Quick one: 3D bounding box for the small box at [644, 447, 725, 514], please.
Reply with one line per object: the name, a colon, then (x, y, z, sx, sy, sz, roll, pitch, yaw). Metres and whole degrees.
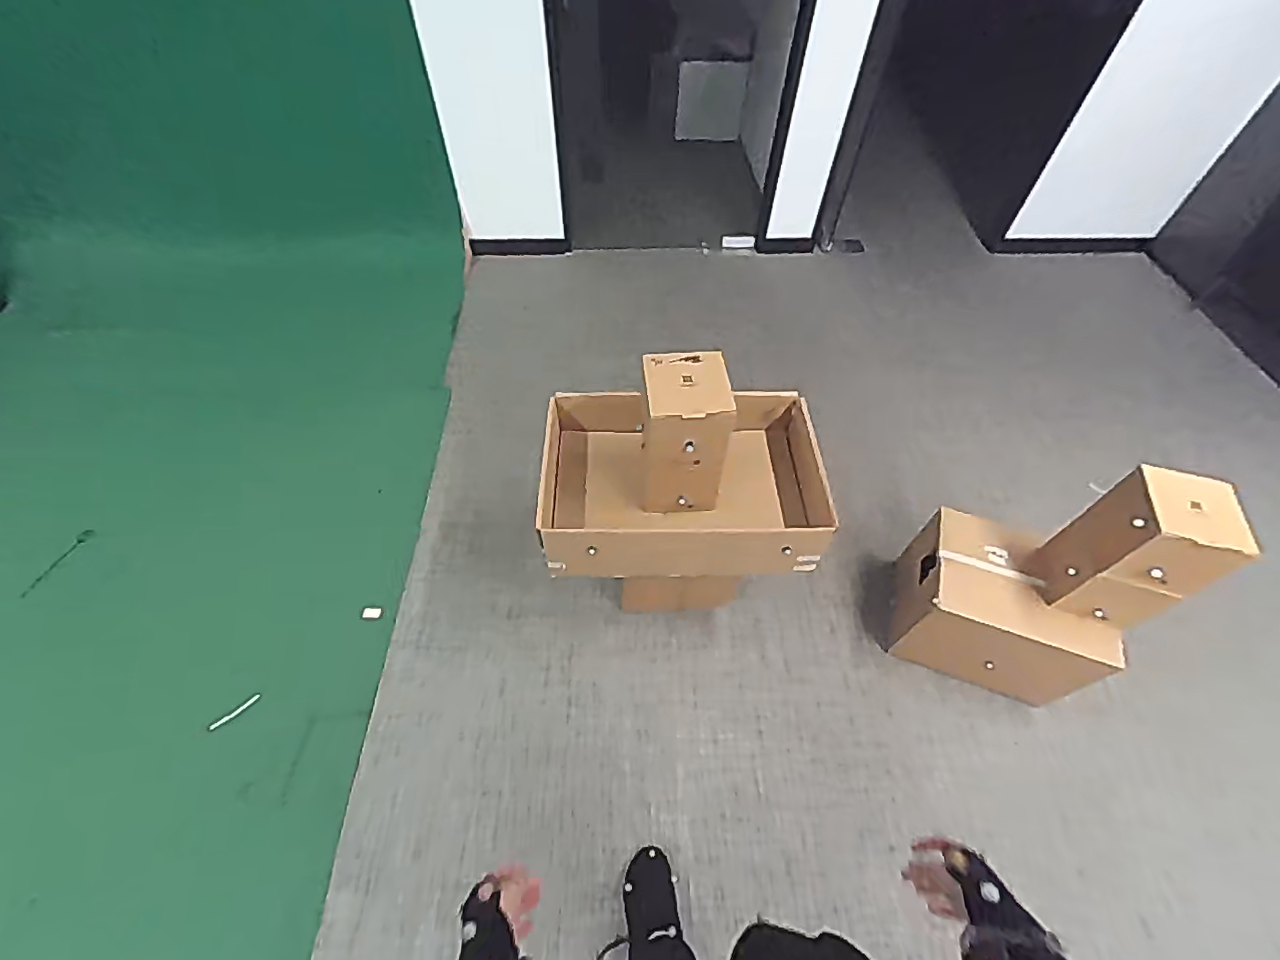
small box: (0.096, -0.038, 1.252, 0.168, 0.176, 0.179, -2, 54, -2)

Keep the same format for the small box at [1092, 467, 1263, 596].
small box: (1.068, 0.106, 1.098, 0.168, 0.176, 0.179, 15, 54, 9)

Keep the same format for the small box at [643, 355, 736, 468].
small box: (0.095, -0.135, 1.120, 0.168, 0.176, 0.179, -3, 54, -4)
